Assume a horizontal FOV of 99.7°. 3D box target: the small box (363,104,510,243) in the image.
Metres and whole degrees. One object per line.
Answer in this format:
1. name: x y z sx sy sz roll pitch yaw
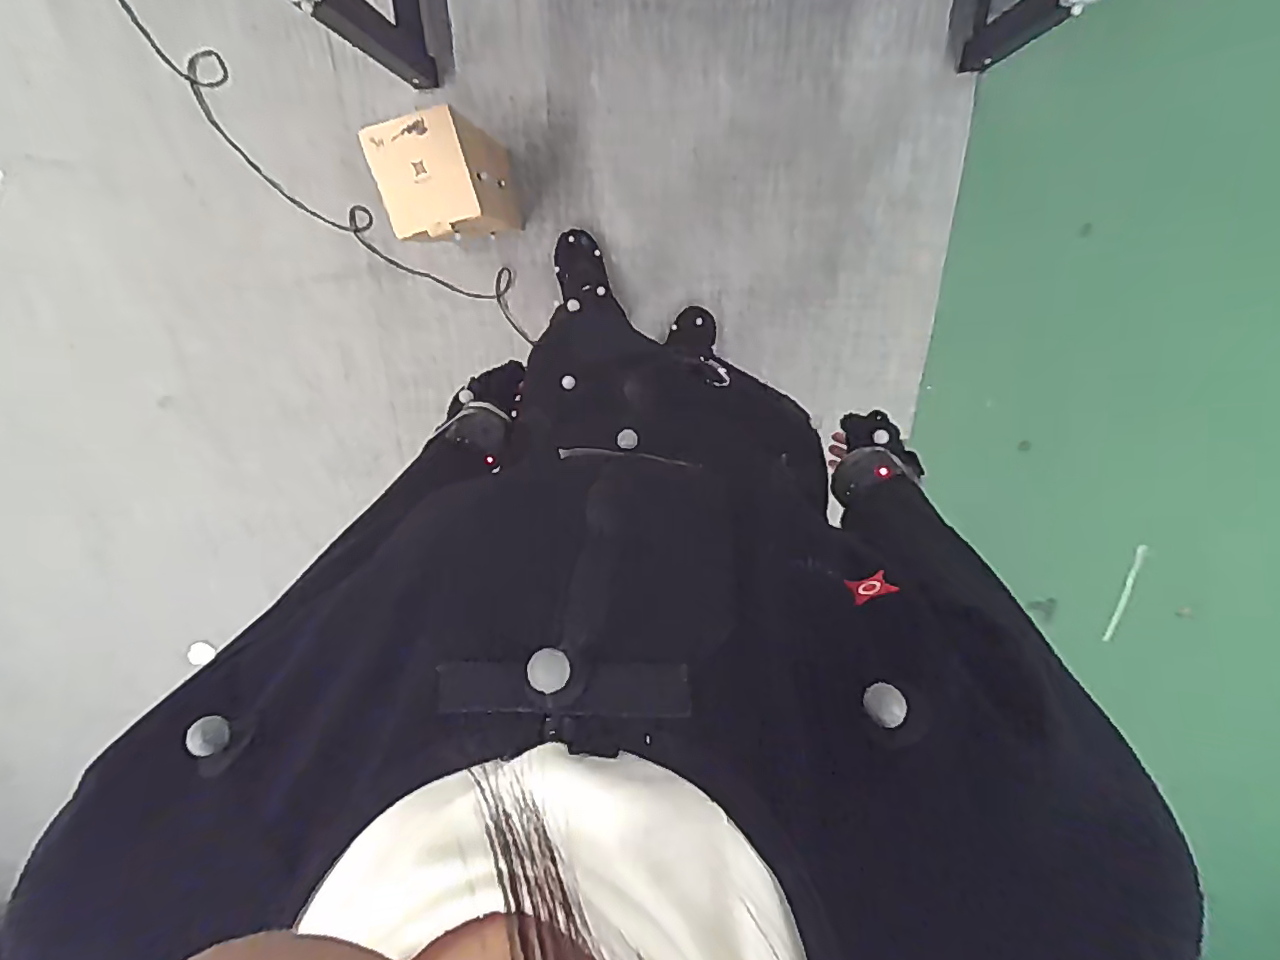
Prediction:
1. small box: -0.363 -0.555 1.004 0.168 0.176 0.179 -14 110 11
